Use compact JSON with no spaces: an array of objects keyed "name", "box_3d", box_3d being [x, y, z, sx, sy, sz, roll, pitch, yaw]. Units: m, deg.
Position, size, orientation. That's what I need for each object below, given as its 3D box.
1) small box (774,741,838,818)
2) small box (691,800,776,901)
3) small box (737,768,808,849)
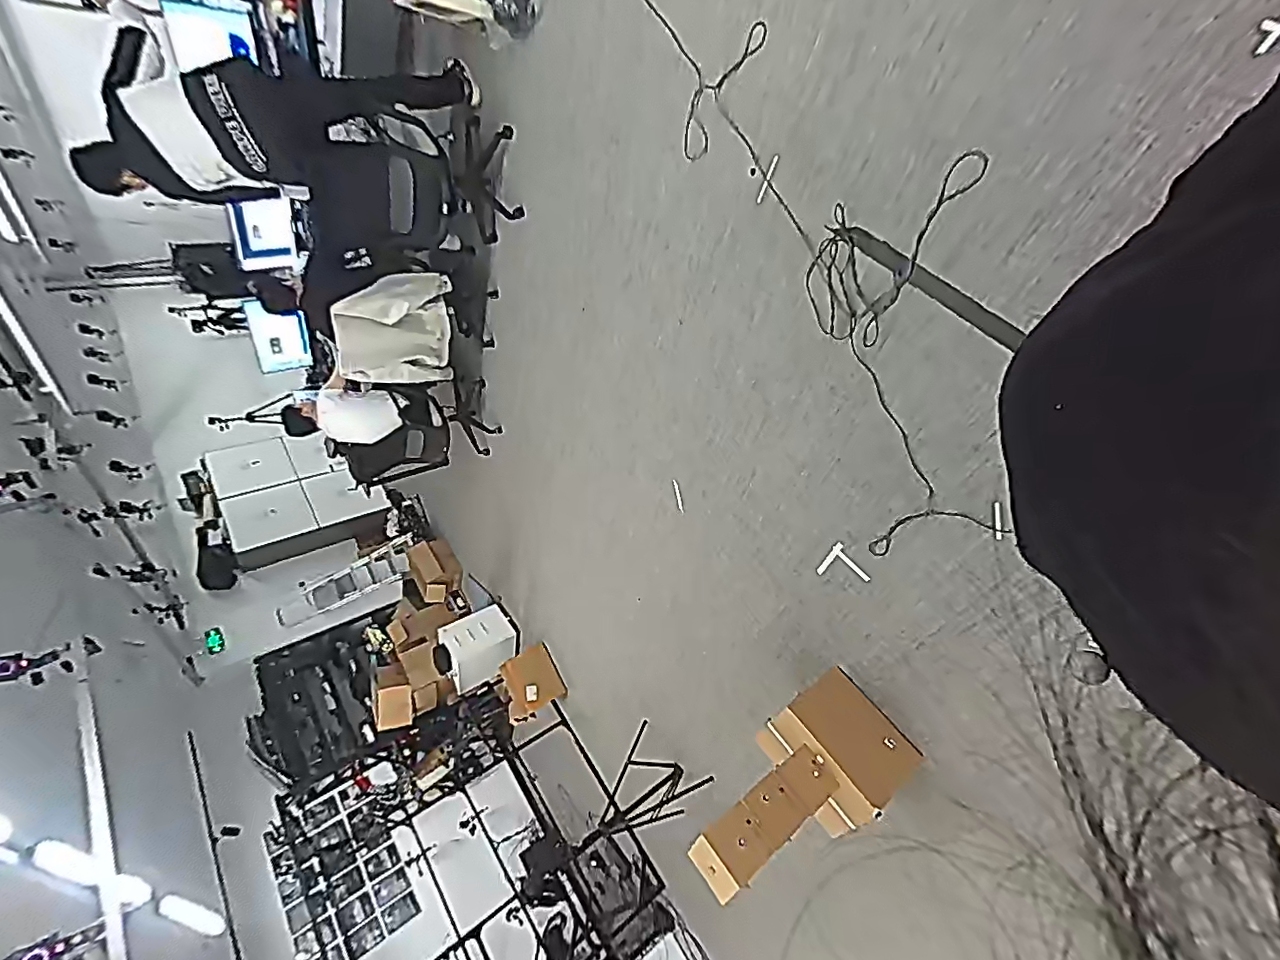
[{"name":"small box","box_3d":[0.538,1.030,1.835,0.168,0.176,0.179,47,139,28]},{"name":"small box","box_3d":[0.286,1.122,1.648,0.168,0.176,0.179,45,138,33]},{"name":"small box","box_3d":[0.412,1.070,1.741,0.168,0.176,0.179,47,140,30]}]
